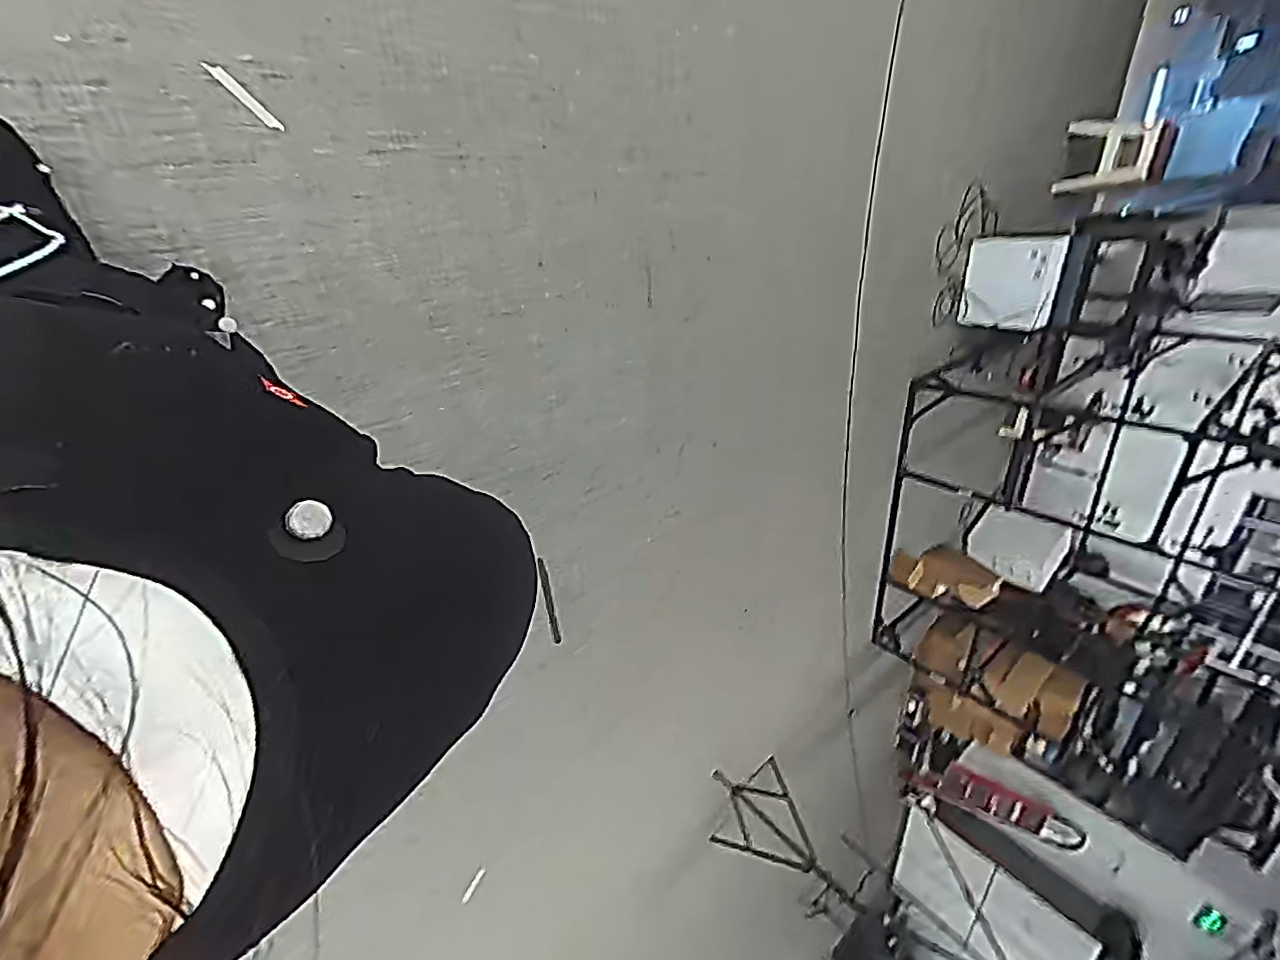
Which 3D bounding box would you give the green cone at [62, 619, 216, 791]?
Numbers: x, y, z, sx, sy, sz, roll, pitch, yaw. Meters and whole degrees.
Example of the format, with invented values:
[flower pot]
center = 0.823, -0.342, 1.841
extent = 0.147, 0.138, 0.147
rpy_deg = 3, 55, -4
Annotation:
[green cone]
center = -1.014, 0.486, 1.101
extent = 0.200, 0.368, 0.202
rpy_deg = -37, 130, -23
